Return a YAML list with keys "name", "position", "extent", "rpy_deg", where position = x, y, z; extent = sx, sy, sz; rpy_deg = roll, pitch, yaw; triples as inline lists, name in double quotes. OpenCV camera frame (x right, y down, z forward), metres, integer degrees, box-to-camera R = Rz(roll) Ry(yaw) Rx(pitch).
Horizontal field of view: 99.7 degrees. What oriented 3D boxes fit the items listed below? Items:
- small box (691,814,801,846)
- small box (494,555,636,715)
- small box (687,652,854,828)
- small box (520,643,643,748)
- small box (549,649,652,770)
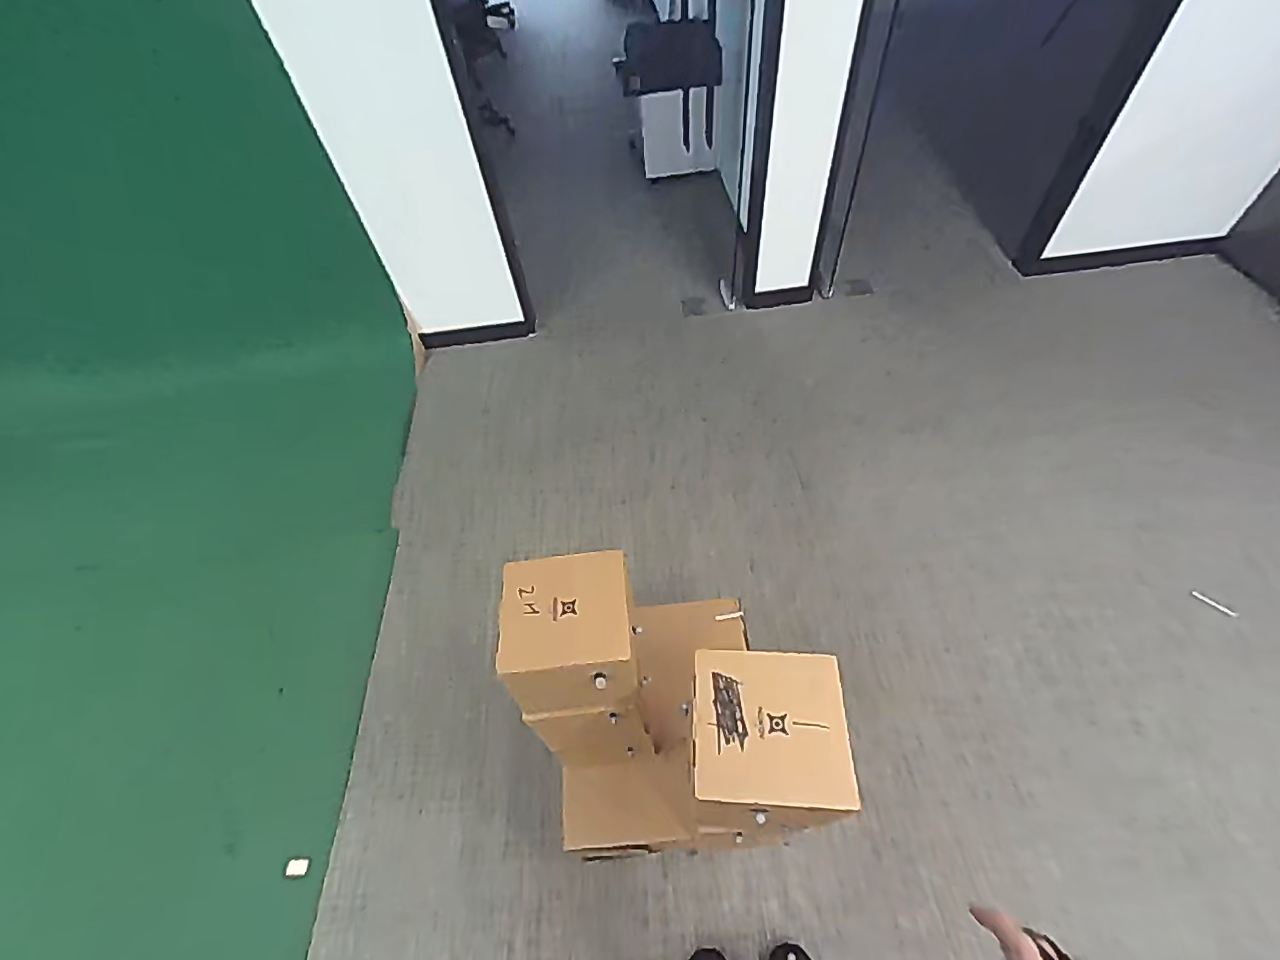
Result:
- name: "small box"
  position: [0.170, 0.525, 0.945]
  extent: [0.168, 0.176, 0.179]
  rpy_deg: [-3, 51, 3]
- name: "small box"
  position: [-0.098, 0.229, 0.792]
  extent: [0.179, 0.176, 0.168]
  rpy_deg: [-6, 49, 1]
- name: "small box"
  position: [0.148, 0.330, 0.680]
  extent: [0.179, 0.176, 0.168]
  rpy_deg: [1, 53, 5]
- name: "small box"
  position: [-0.093, 0.339, 0.916]
  extent: [0.179, 0.176, 0.168]
  rpy_deg: [-7, 50, -1]
- name: "small box"
  position: [-0.073, 0.442, 1.039]
  extent: [0.179, 0.176, 0.168]
  rpy_deg: [-9, 50, 0]
